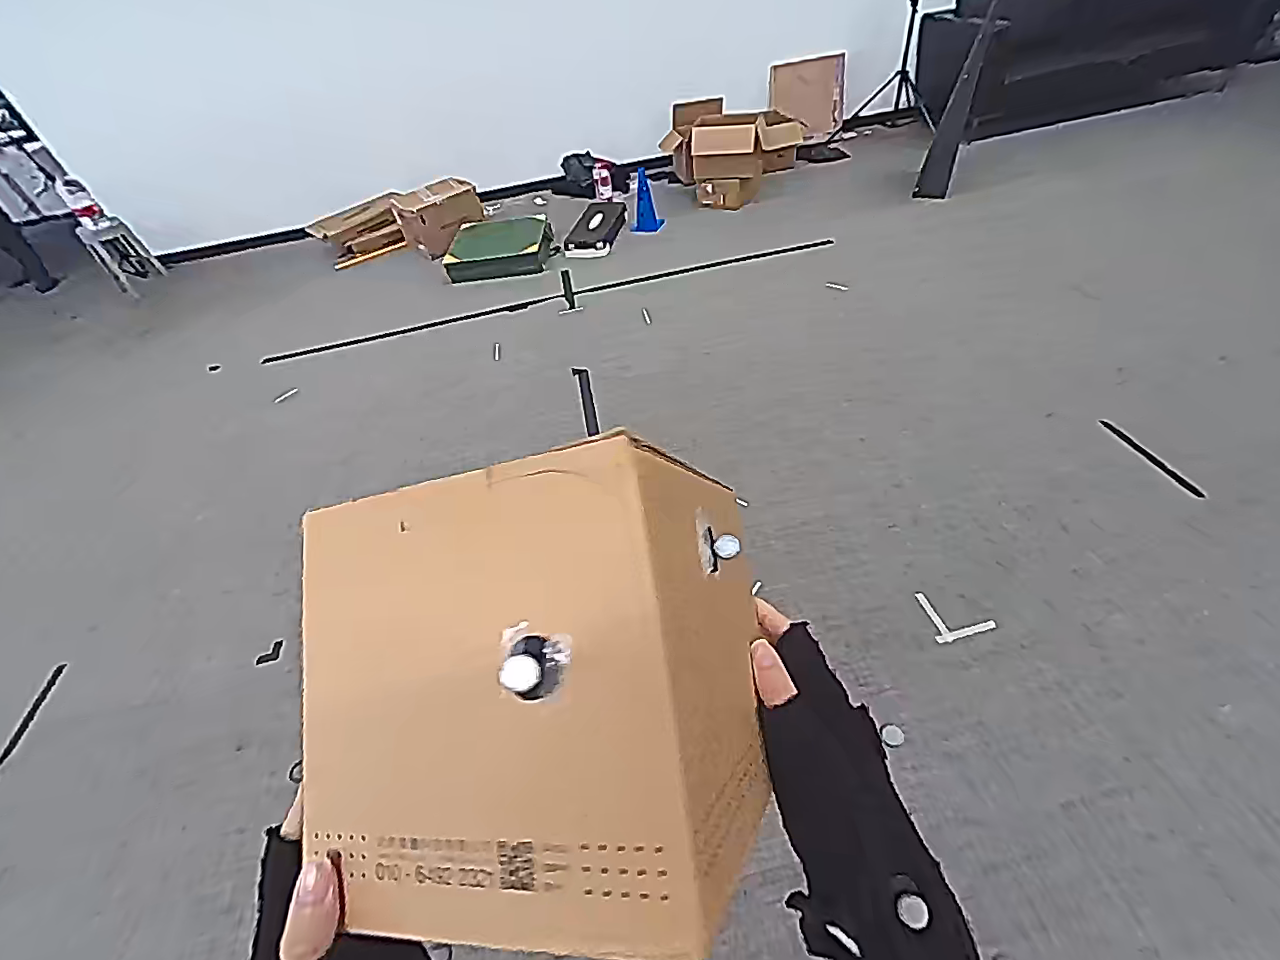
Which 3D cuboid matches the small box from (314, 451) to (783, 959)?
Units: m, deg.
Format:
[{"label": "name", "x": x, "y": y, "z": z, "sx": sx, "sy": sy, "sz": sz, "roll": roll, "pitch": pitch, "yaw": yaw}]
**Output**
[{"label": "small box", "x": -0.032, "y": 0.097, "z": 0.279, "sx": 0.168, "sy": 0.179, "sz": 0.176, "roll": -12, "pitch": 78, "yaw": 23}]
